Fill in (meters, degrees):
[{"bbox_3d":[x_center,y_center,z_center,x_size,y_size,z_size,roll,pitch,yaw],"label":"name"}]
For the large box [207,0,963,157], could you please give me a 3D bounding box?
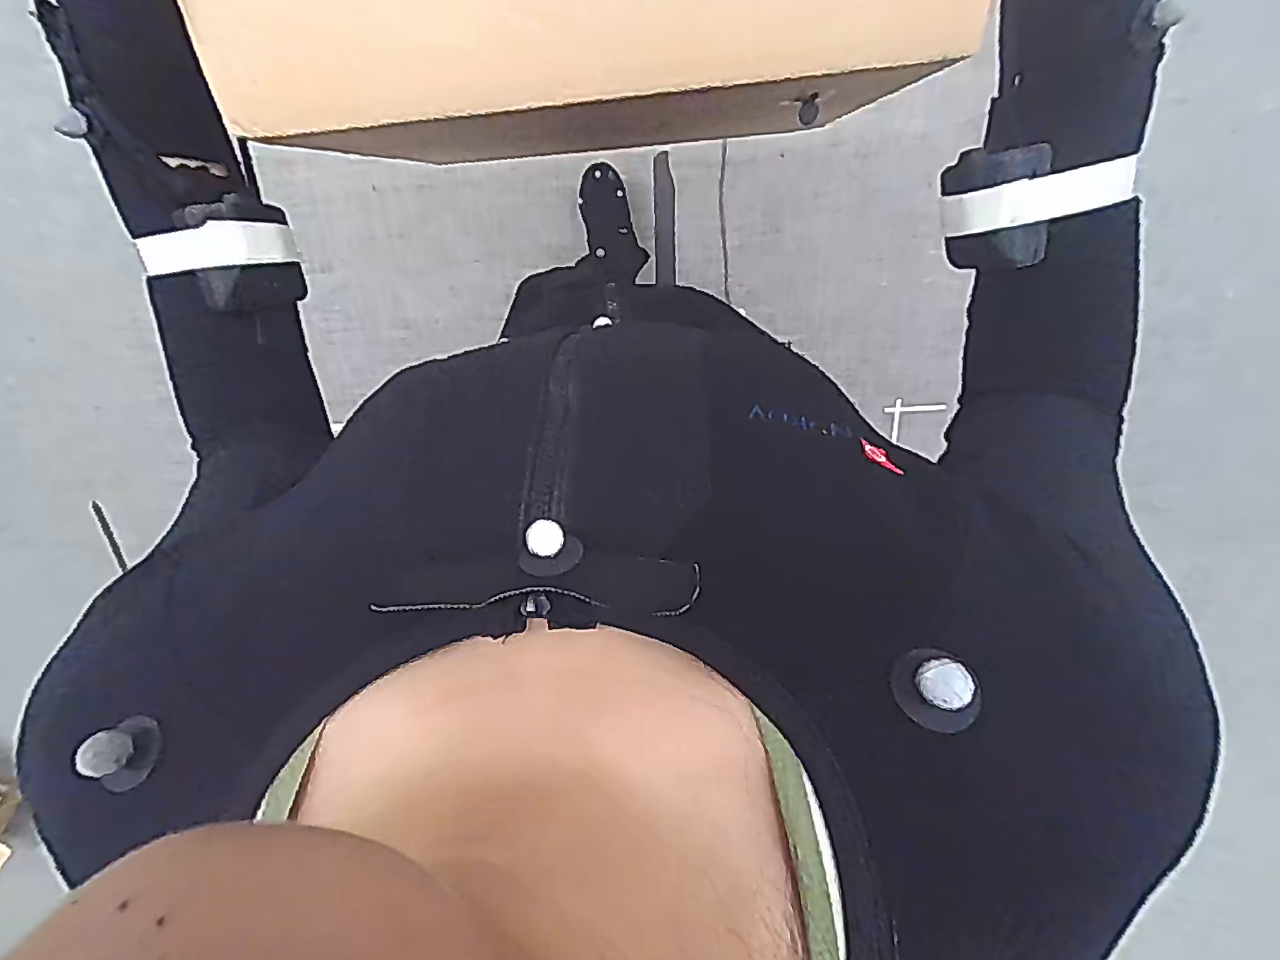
[{"bbox_3d":[-0.035,-0.420,0.362,0.408,0.320,0.320,-3,117,5],"label":"large box"}]
